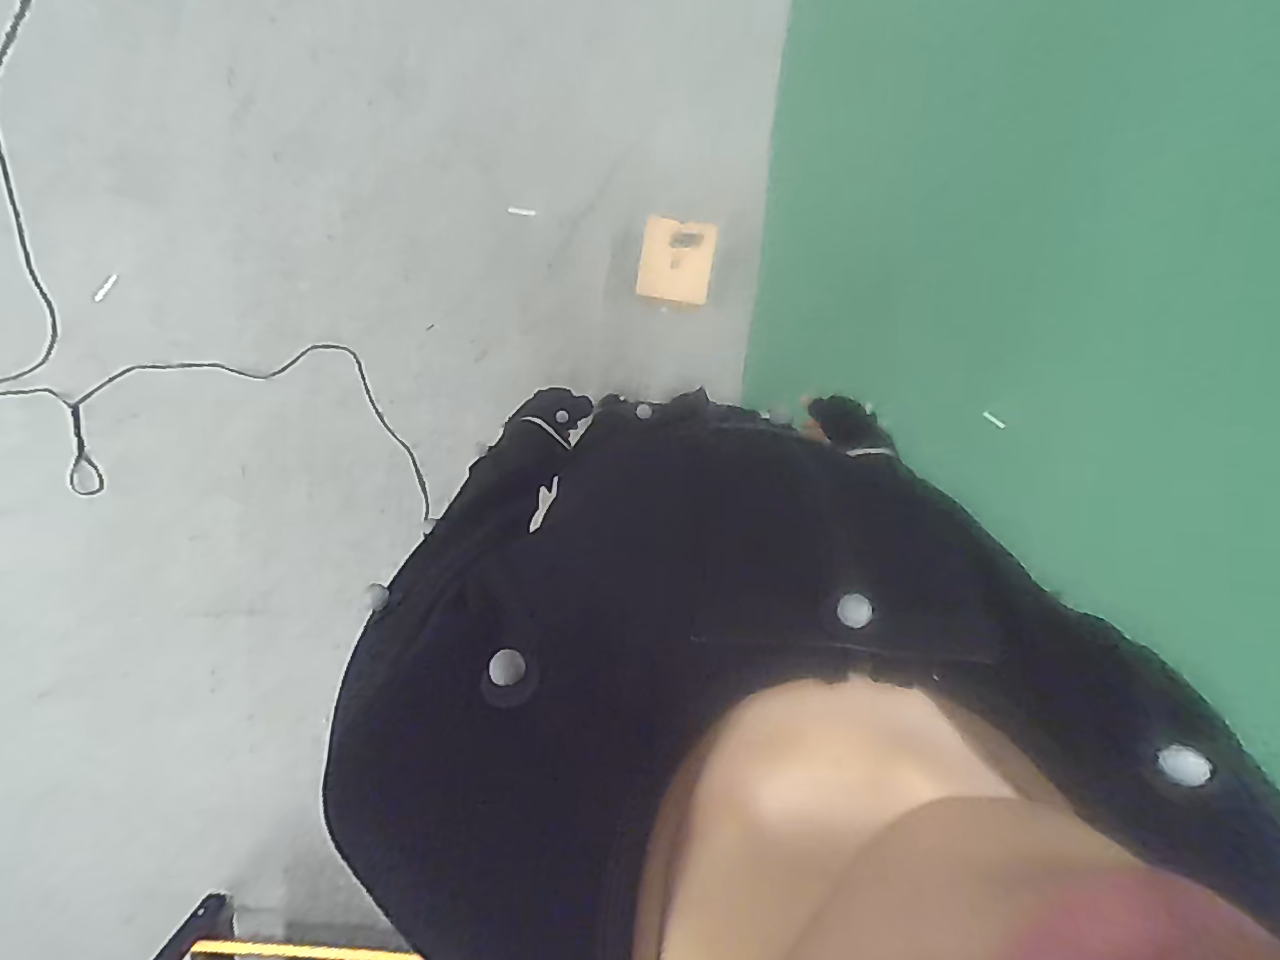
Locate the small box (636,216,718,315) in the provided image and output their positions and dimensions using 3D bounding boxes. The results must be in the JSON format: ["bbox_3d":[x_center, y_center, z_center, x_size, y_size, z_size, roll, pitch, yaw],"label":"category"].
[{"bbox_3d":[0.082,-0.511,1.310,0.168,0.176,0.179,9,101,-2],"label":"small box"}]
